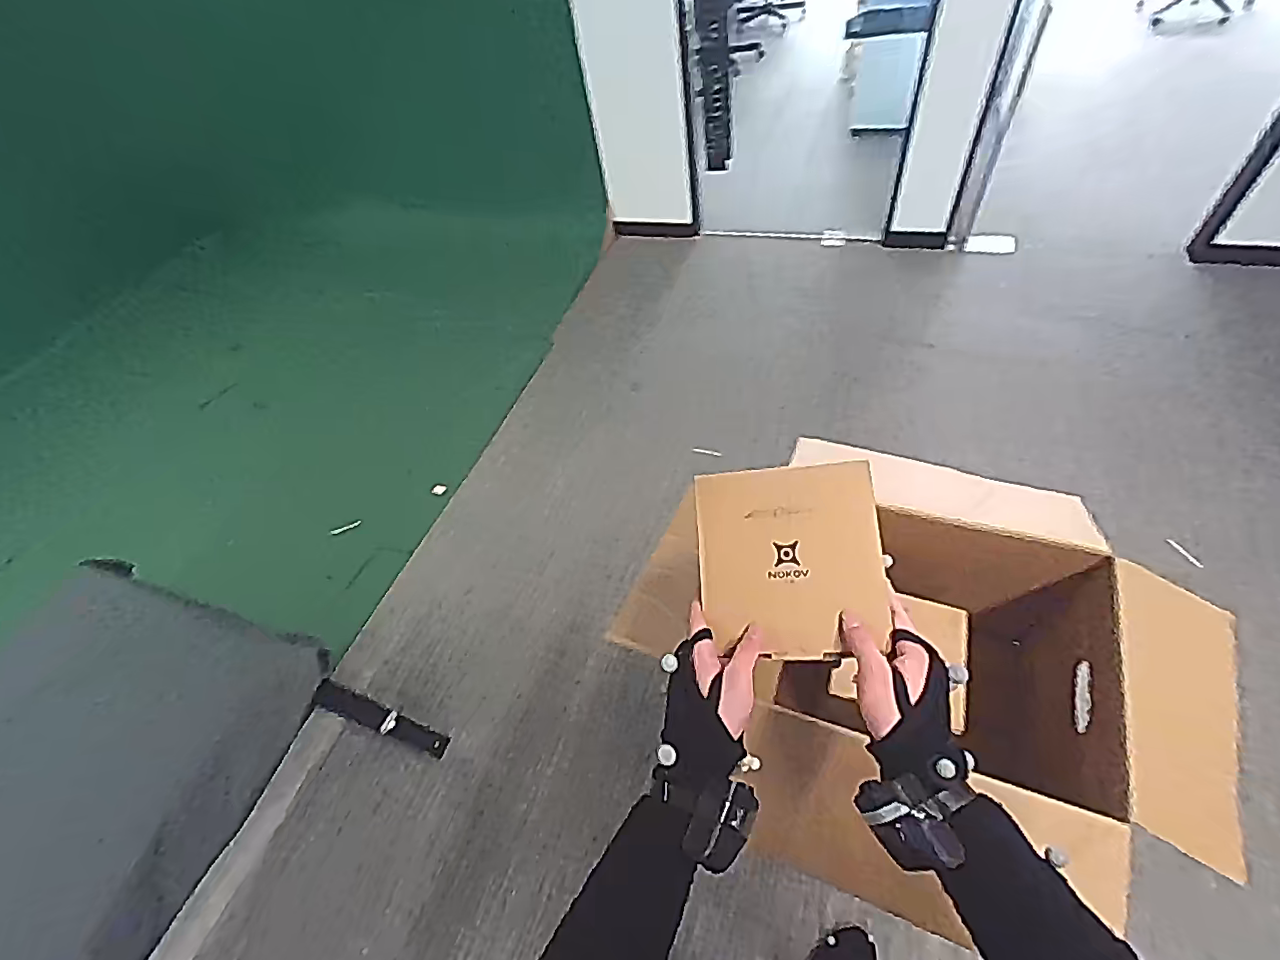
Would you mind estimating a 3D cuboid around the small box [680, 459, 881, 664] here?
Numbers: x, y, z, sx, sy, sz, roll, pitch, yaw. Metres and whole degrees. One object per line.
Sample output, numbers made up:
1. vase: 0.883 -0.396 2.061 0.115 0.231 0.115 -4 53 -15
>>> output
1. small box: 0.140 0.091 0.559 0.168 0.176 0.179 -6 74 13
